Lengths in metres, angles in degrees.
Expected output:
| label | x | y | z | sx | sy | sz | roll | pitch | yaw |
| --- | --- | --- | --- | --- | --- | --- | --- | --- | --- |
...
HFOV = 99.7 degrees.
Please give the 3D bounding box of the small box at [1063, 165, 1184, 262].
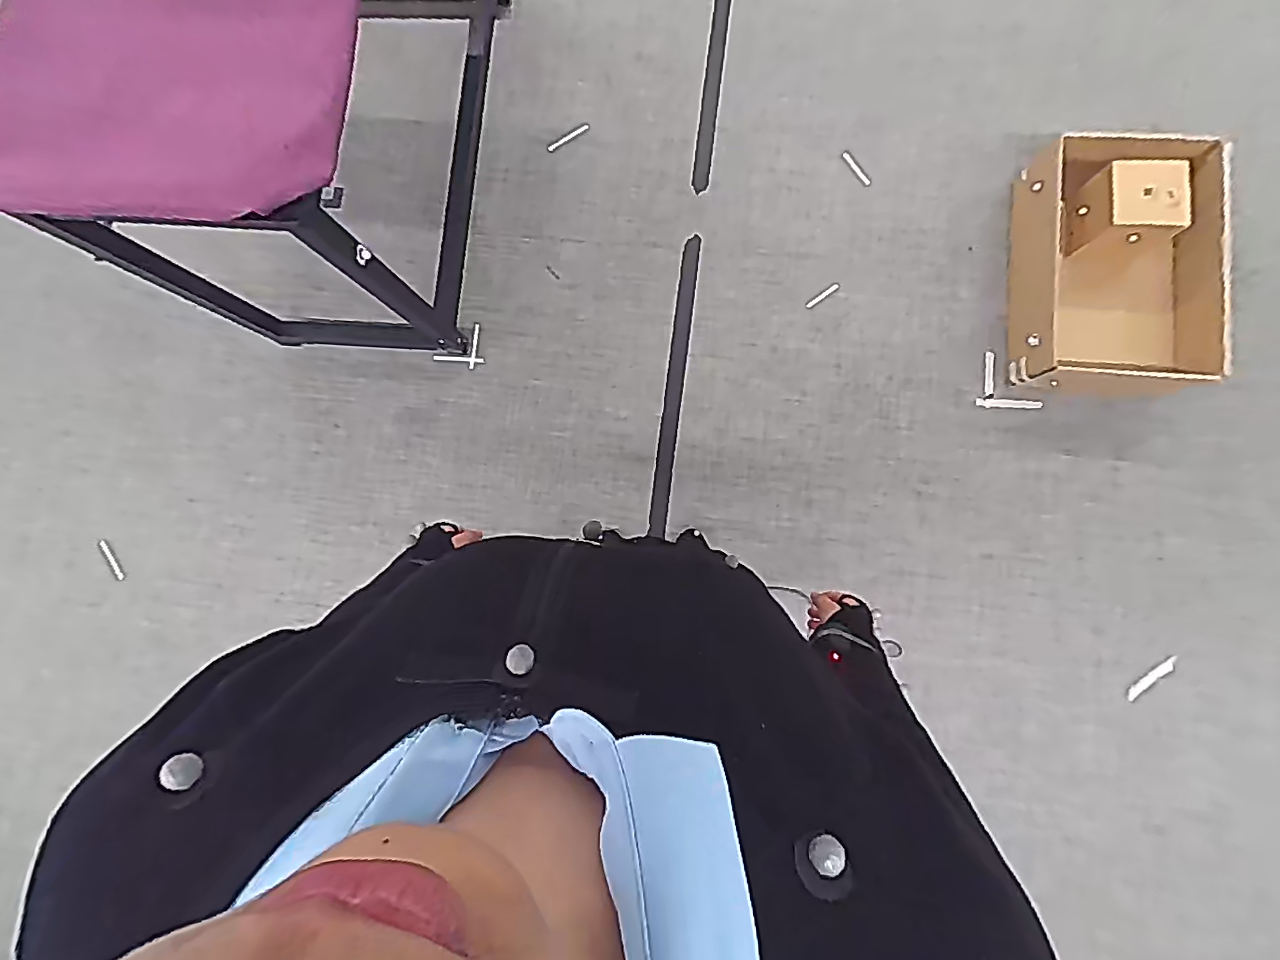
| label | x | y | z | sx | sy | sz | roll | pitch | yaw |
| --- | --- | --- | --- | --- | --- | --- | --- | --- | --- |
| small box | 1.230 | -0.677 | 1.388 | 0.179 | 0.176 | 0.168 | 3 | 86 | 4 |
